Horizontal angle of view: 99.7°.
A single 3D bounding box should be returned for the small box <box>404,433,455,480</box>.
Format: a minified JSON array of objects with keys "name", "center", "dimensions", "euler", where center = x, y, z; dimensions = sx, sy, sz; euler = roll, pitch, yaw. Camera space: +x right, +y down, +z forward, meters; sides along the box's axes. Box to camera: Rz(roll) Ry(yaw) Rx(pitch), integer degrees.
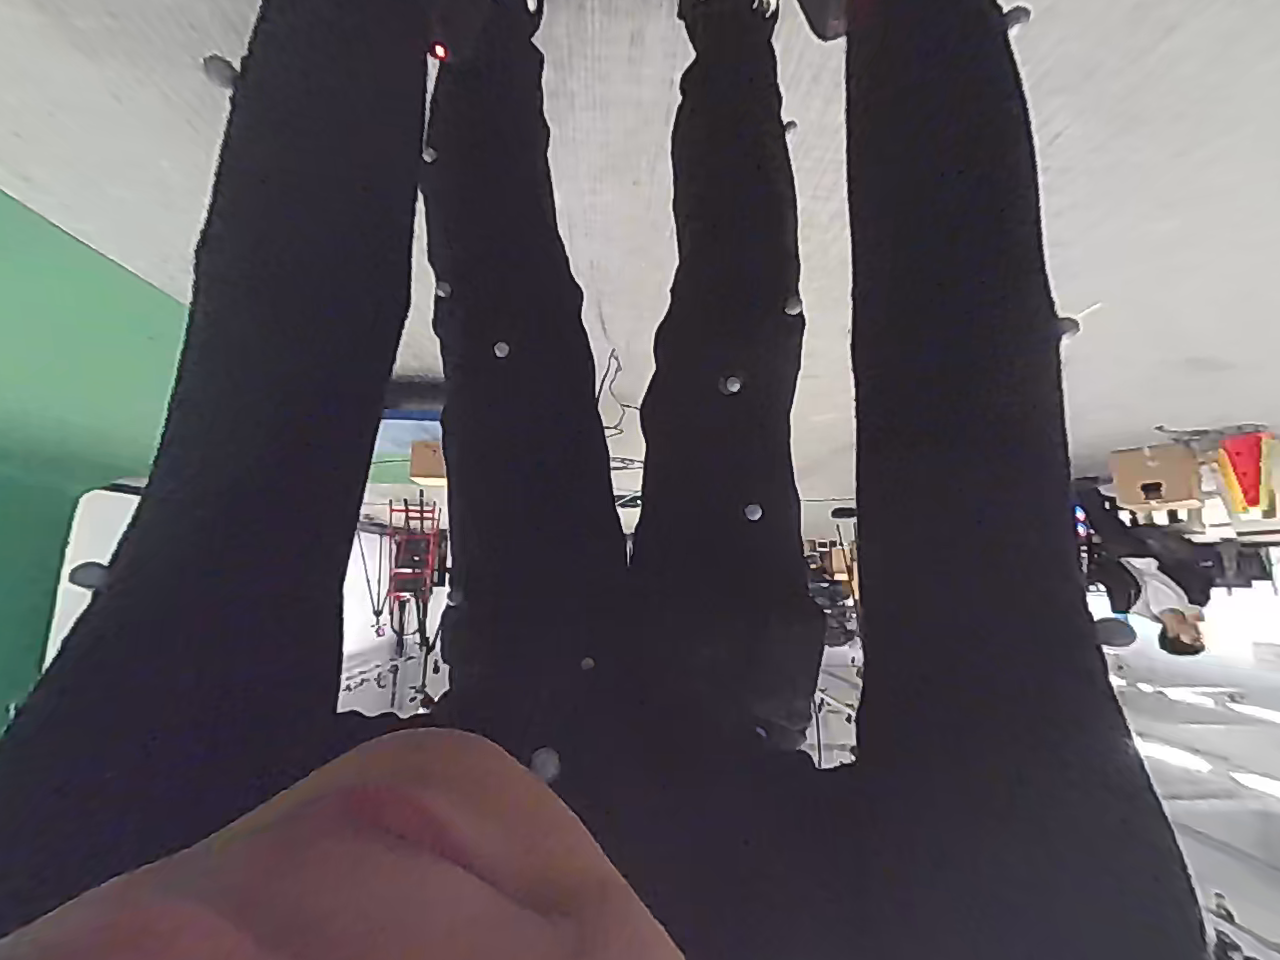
[{"name":"small box","center":[-0.924,-0.102,2.391],"dimensions":[0.168,0.176,0.179],"euler":[2,169,-5]}]
